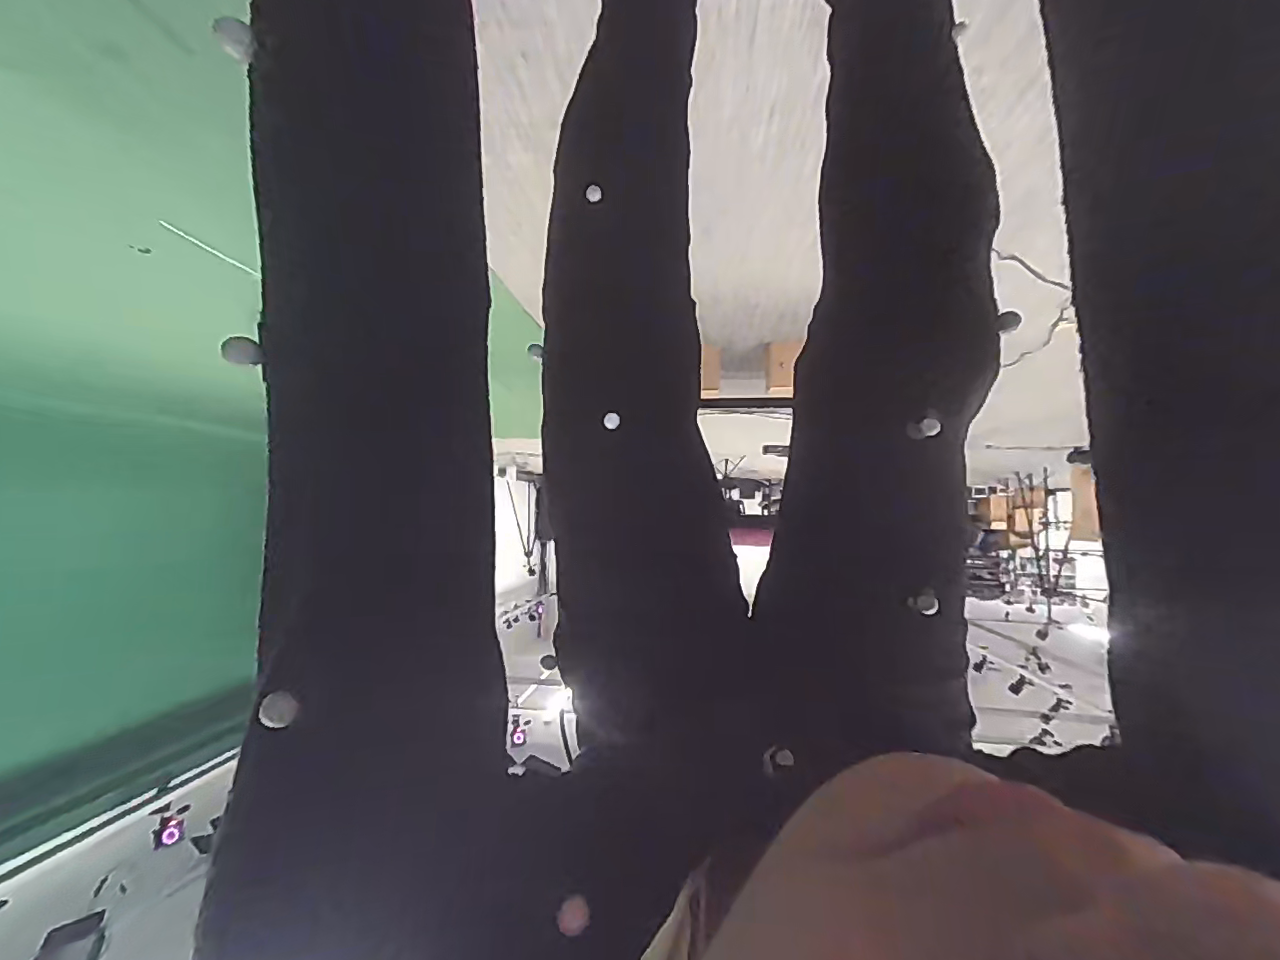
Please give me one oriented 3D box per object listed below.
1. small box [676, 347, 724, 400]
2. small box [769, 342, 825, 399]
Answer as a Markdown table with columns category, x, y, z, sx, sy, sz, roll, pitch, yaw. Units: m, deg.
| category | x | y | z | sx | sy | sz | roll | pitch | yaw |
| --- | --- | --- | --- | --- | --- | --- | --- | --- | --- |
| small box | 0.229 | -0.405 | 2.061 | 0.179 | 0.176 | 0.168 | 1 | 176 | 5 |
| small box | 0.573 | -0.401 | 1.984 | 0.179 | 0.176 | 0.168 | 1 | 177 | 7 |
